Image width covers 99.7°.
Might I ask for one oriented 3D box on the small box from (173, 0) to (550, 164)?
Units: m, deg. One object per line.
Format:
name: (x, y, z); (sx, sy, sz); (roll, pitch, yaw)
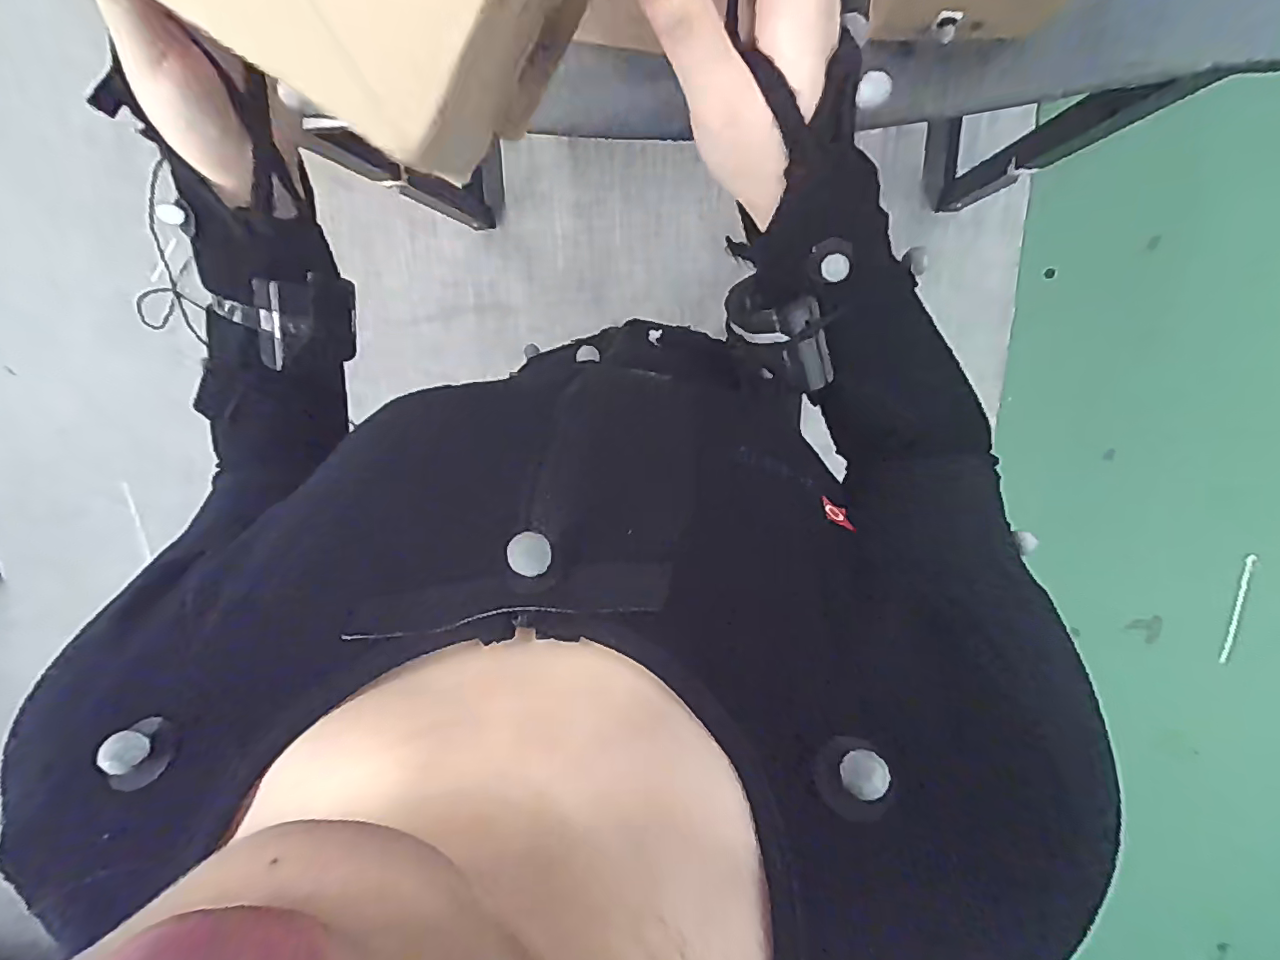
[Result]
small box: (-0.109, -0.234, 0.178); (0.179, 0.176, 0.168); (25, 110, -24)

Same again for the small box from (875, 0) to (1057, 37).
small box: (0.323, -0.541, 0.479); (0.168, 0.176, 0.179); (2, 105, 7)
